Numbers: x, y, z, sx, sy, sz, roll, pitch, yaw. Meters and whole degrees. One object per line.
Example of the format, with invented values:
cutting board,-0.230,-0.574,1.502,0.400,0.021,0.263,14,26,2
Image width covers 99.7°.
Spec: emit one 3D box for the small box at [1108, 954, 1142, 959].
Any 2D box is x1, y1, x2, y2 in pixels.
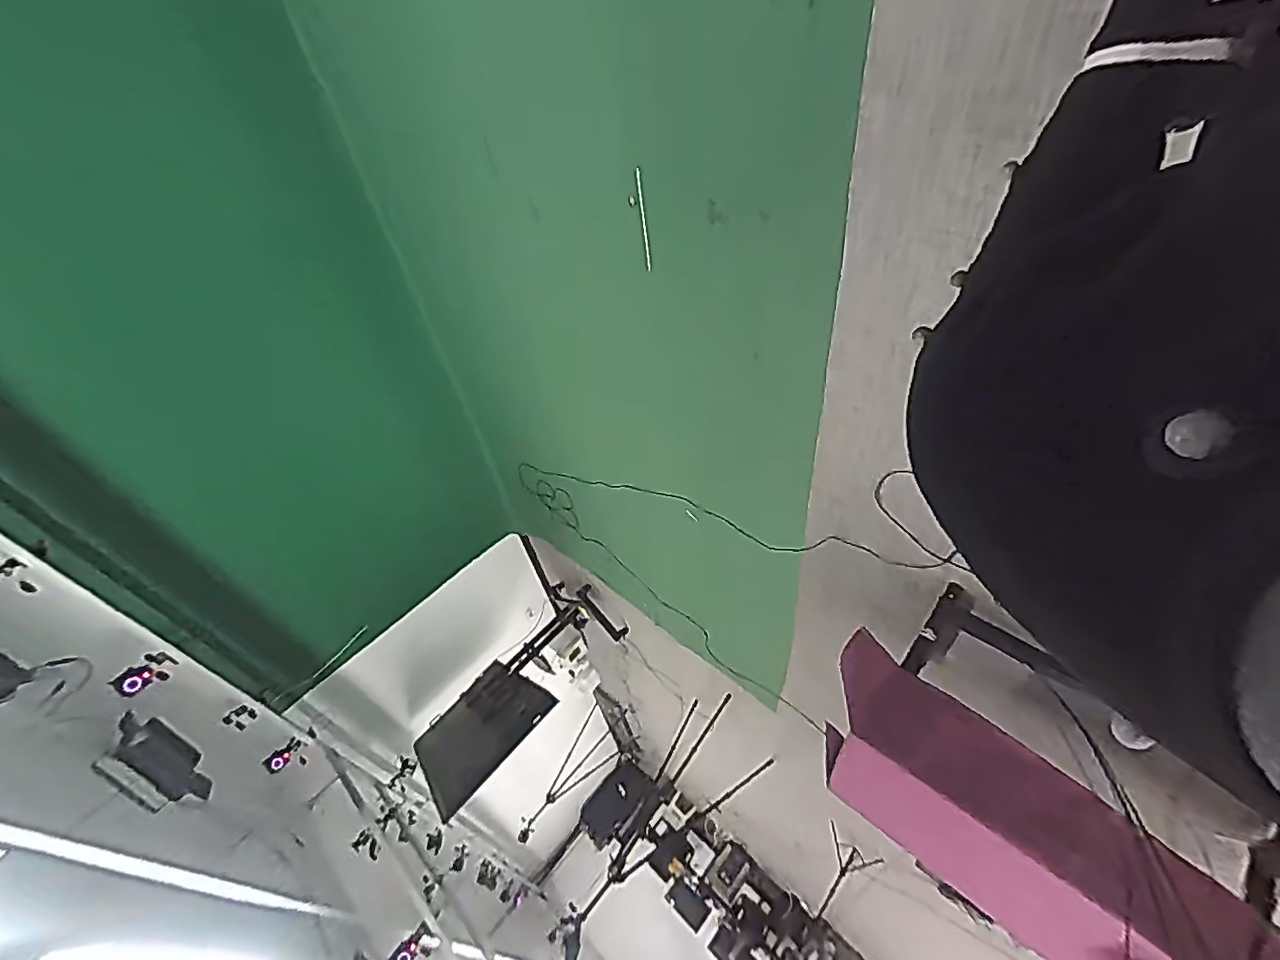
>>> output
small box,1.254,1.322,1.333,0.168,0.176,0.179,27,146,38
